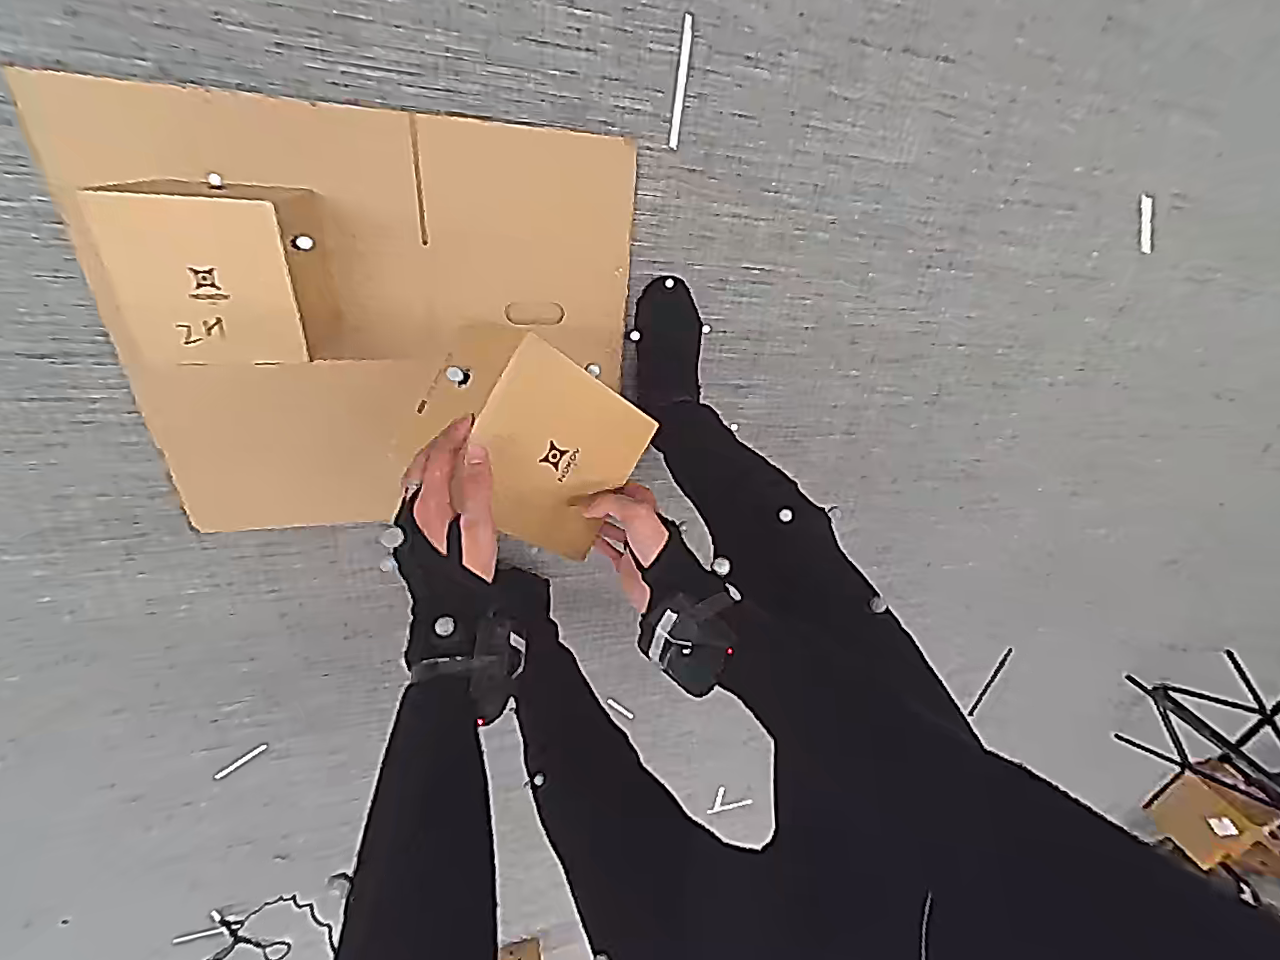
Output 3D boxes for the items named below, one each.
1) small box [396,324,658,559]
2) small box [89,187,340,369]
[{"bbox_3d":[-0.122,-0.045,0.562,0.179,0.176,0.168,32,86,-41],"label":"small box"},{"bbox_3d":[-0.477,-0.243,0.644,0.168,0.176,0.179,-3,122,-15],"label":"small box"}]
